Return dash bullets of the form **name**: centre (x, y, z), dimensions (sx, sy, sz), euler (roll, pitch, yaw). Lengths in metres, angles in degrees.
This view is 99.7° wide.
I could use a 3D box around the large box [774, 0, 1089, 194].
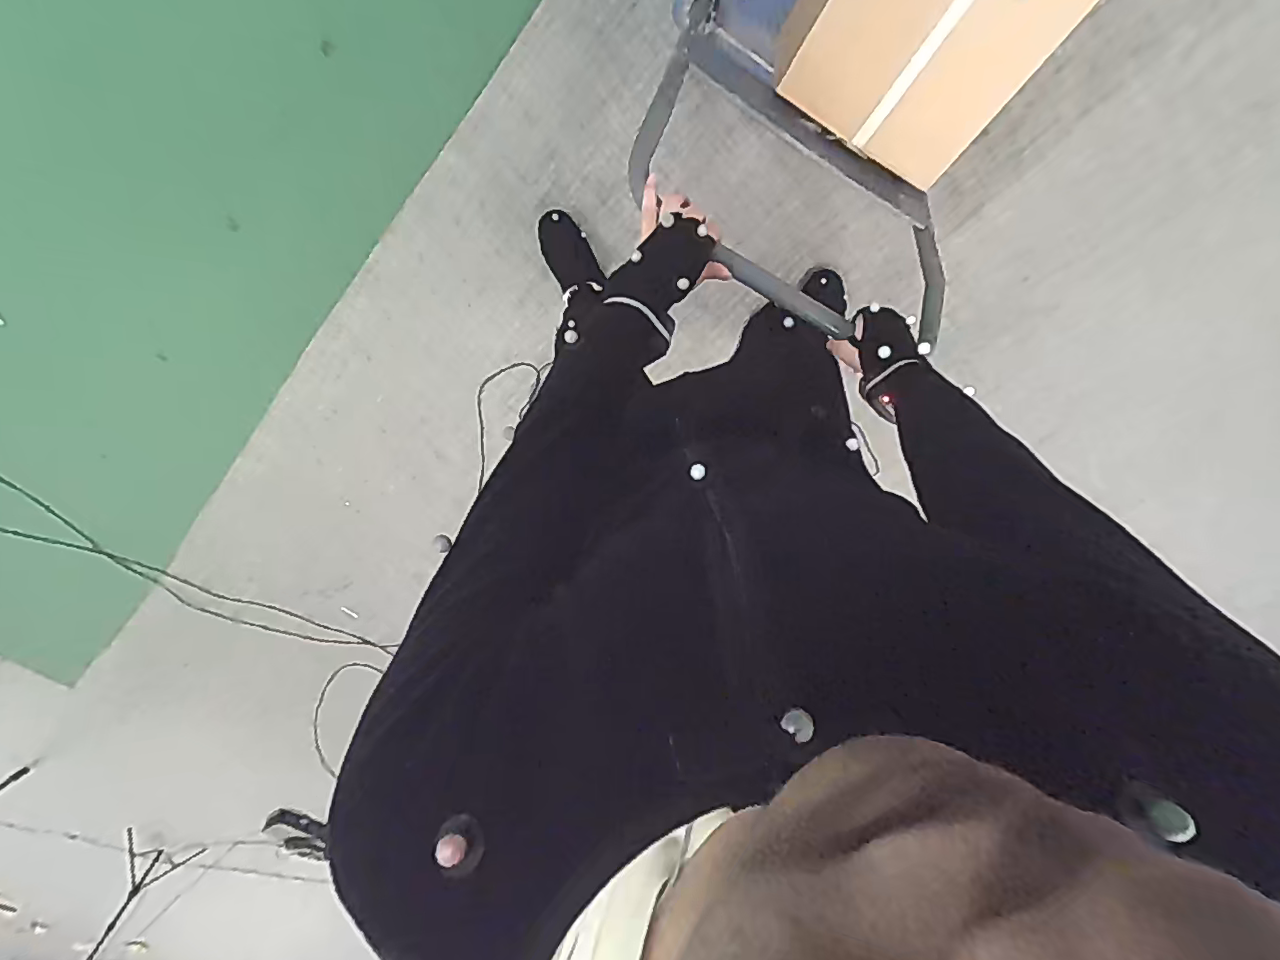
- **large box**: centre (0.455, -0.770, 0.860), dimensions (0.320, 0.320, 0.408), euler (24, 139, -15)
